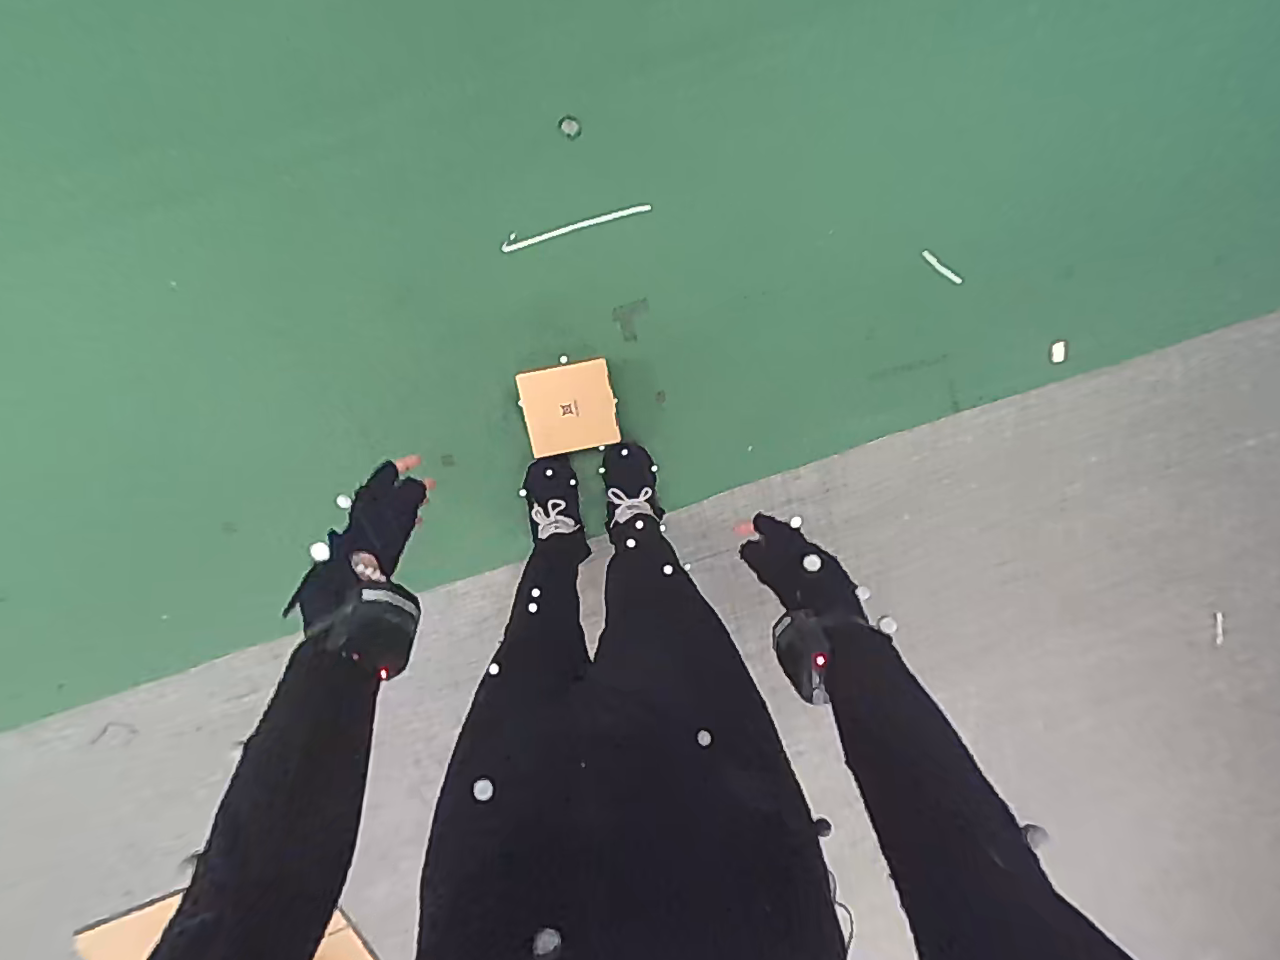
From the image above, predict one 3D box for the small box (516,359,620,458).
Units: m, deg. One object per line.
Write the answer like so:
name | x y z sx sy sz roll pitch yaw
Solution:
small box | -0.144 -0.153 1.119 0.179 0.176 0.168 -12 105 -4
